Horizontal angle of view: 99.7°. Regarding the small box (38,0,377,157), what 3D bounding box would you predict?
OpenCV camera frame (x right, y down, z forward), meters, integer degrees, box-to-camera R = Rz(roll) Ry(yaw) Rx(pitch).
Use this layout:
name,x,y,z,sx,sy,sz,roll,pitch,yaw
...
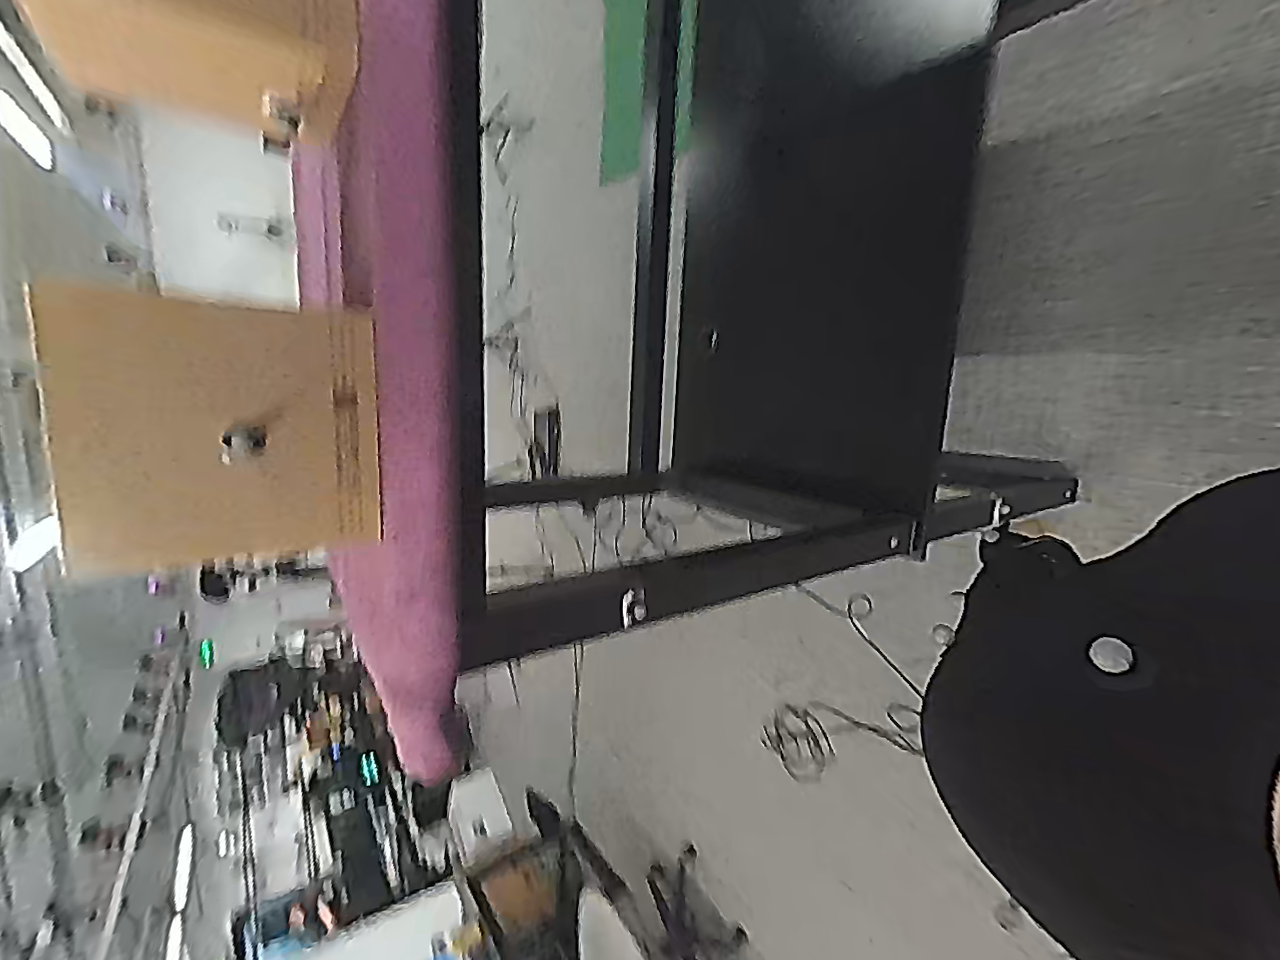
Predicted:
name,x,y,z,sx,sy,sz,roll,pitch,yaw
small box,-0.289,-0.357,0.368,0.168,0.176,0.179,13,106,54

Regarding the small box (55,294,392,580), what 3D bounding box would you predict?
name,x,y,z,sx,sy,sz,roll,pitch,yaw
small box,-0.295,-0.039,0.413,0.179,0.176,0.168,13,104,53
